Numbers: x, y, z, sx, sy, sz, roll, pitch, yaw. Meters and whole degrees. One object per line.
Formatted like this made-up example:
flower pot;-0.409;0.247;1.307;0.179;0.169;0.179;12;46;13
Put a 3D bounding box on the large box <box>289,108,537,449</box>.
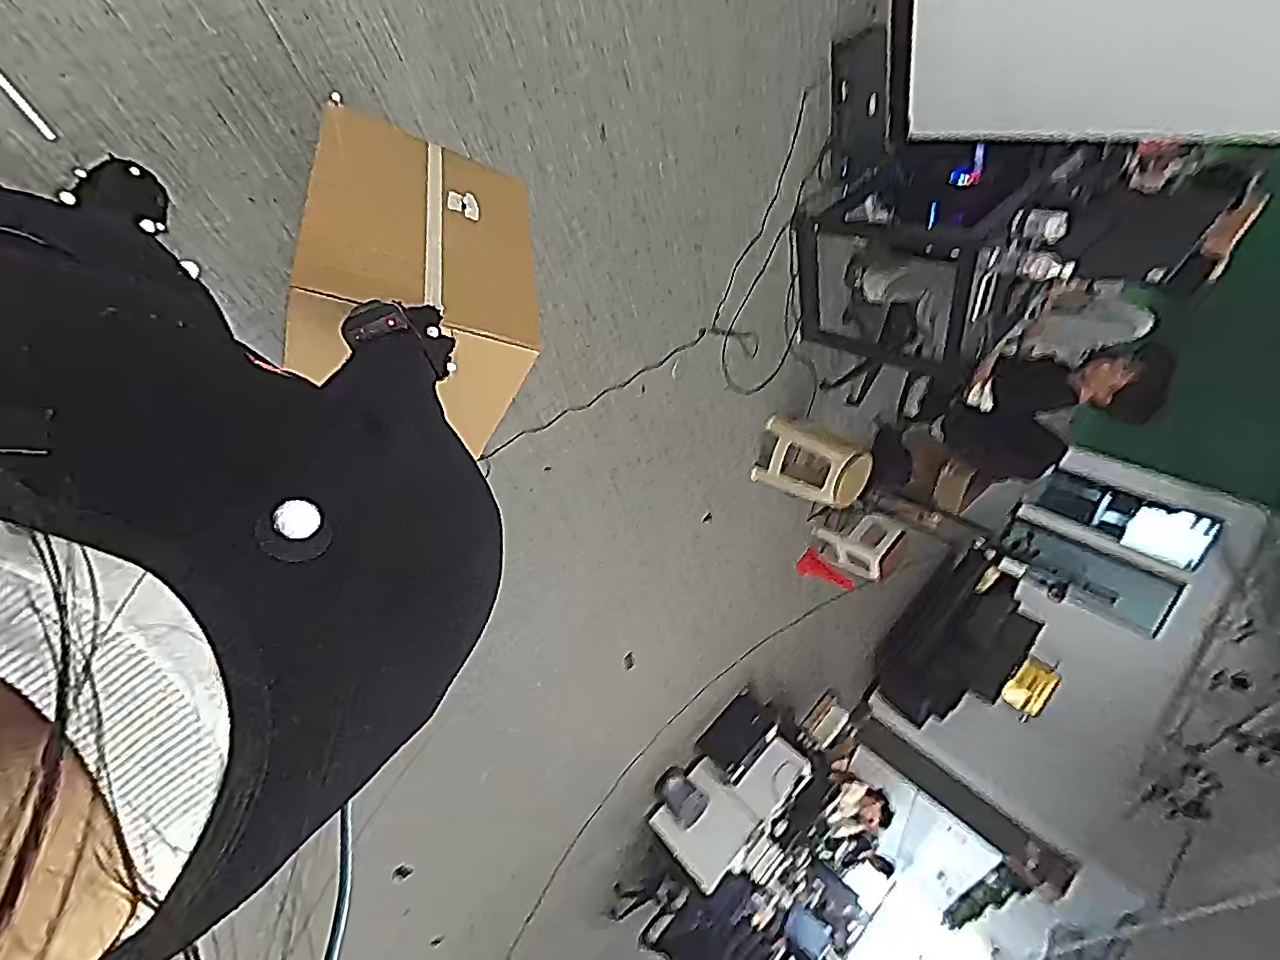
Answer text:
large box;-0.395;-0.308;0.915;0.320;0.408;0.320;7;146;-33
